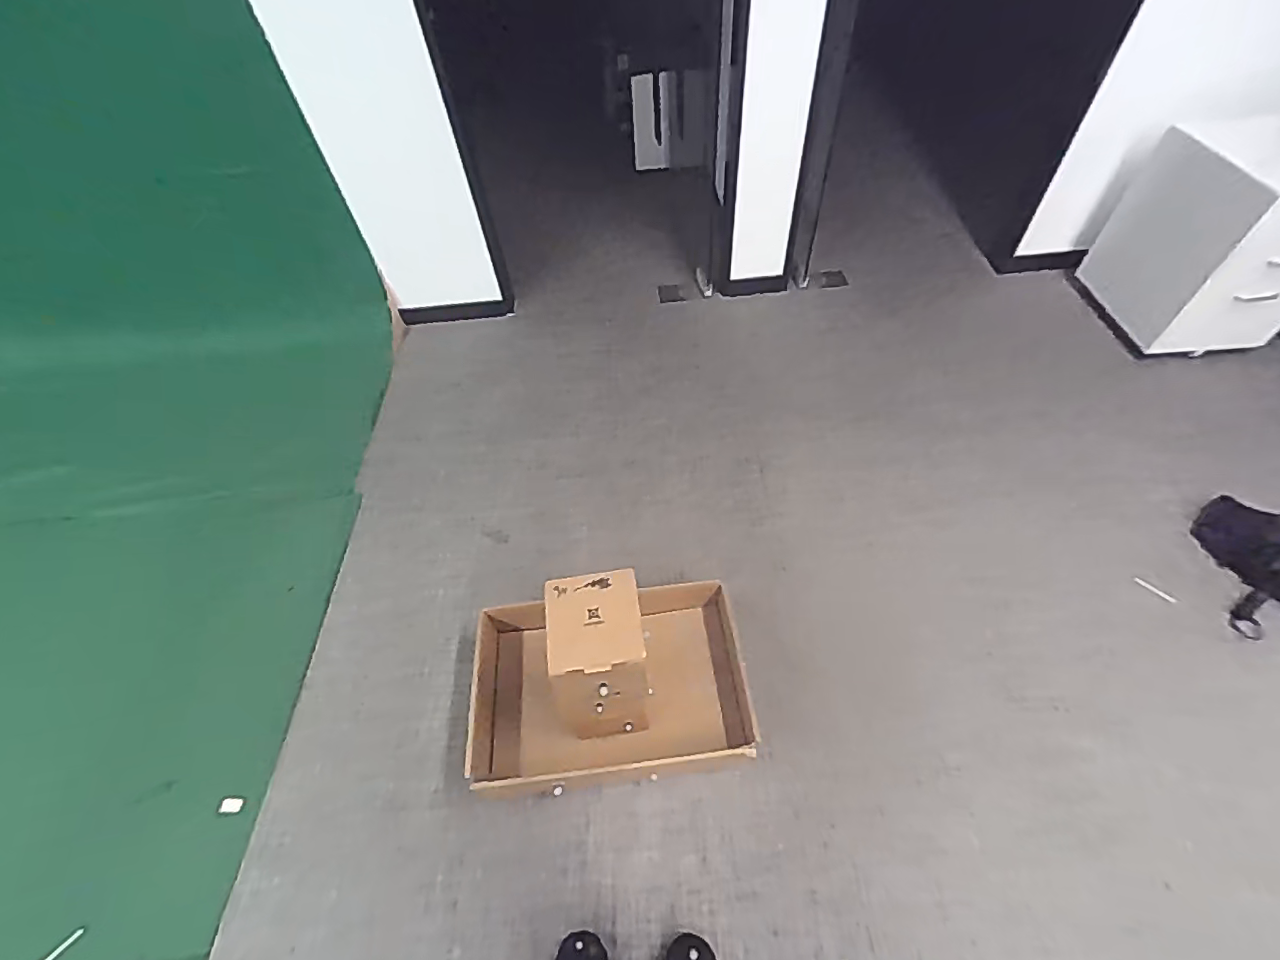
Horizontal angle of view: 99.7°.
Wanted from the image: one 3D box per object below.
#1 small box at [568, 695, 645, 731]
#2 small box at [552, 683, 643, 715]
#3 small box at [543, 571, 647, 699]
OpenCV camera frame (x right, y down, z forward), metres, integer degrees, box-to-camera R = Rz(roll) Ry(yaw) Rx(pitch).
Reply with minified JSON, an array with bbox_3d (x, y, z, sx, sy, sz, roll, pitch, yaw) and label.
[{"bbox_3d":[-0.079,0.479,1.274,0.168,0.176,0.179,-6,51,-2],"label":"small box"},{"bbox_3d":[-0.085,0.392,1.154,0.179,0.176,0.168,-6,52,0],"label":"small box"},{"bbox_3d":[-0.083,0.299,1.023,0.168,0.176,0.179,-10,52,-3],"label":"small box"}]
